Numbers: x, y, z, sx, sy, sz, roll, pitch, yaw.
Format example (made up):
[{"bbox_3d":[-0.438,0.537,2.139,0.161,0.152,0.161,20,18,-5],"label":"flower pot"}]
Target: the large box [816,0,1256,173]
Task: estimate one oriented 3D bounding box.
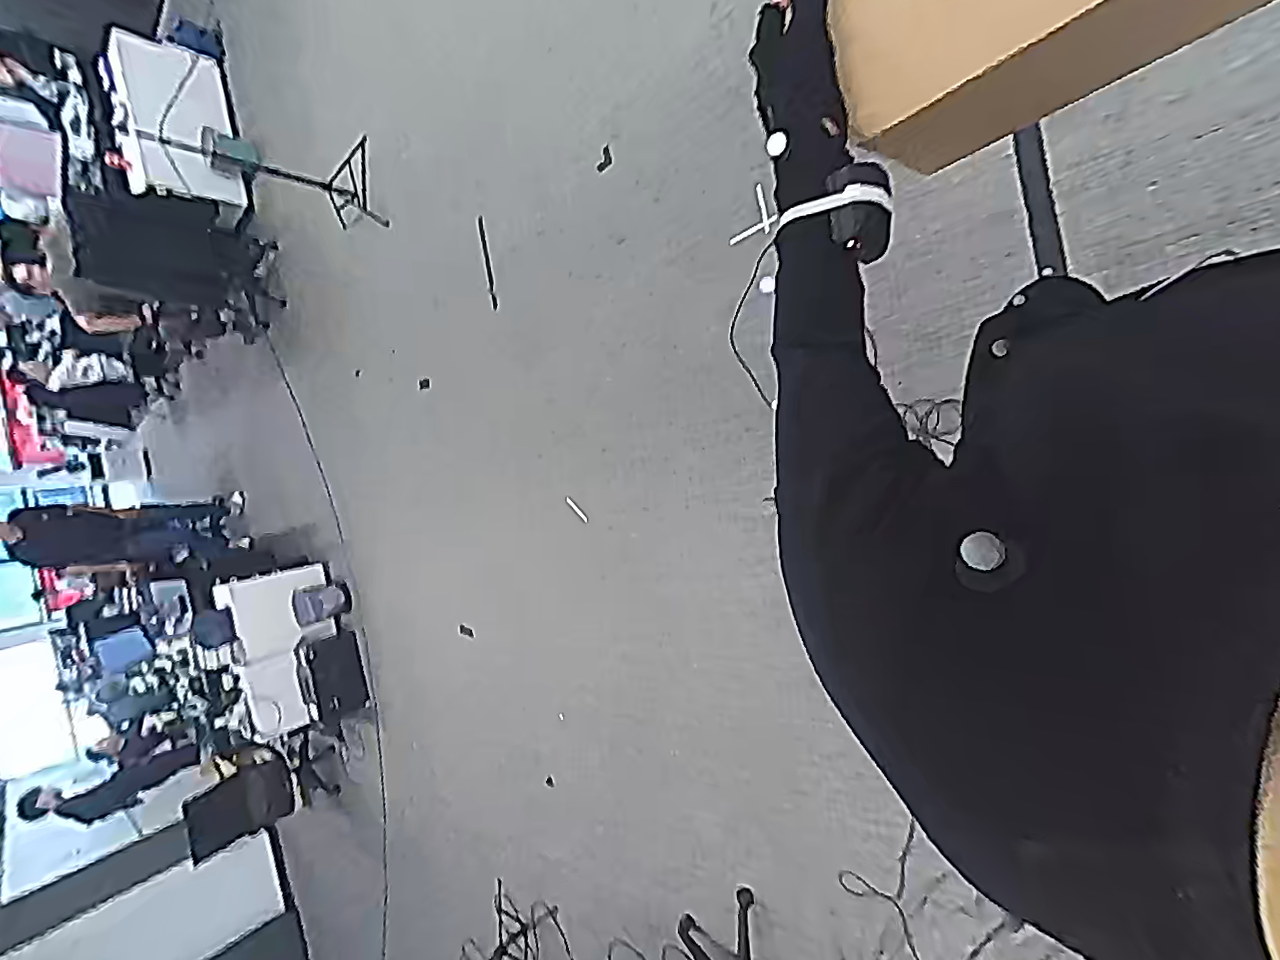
[{"bbox_3d":[0.369,-0.525,0.441,0.408,0.320,0.320,-15,100,41],"label":"large box"}]
